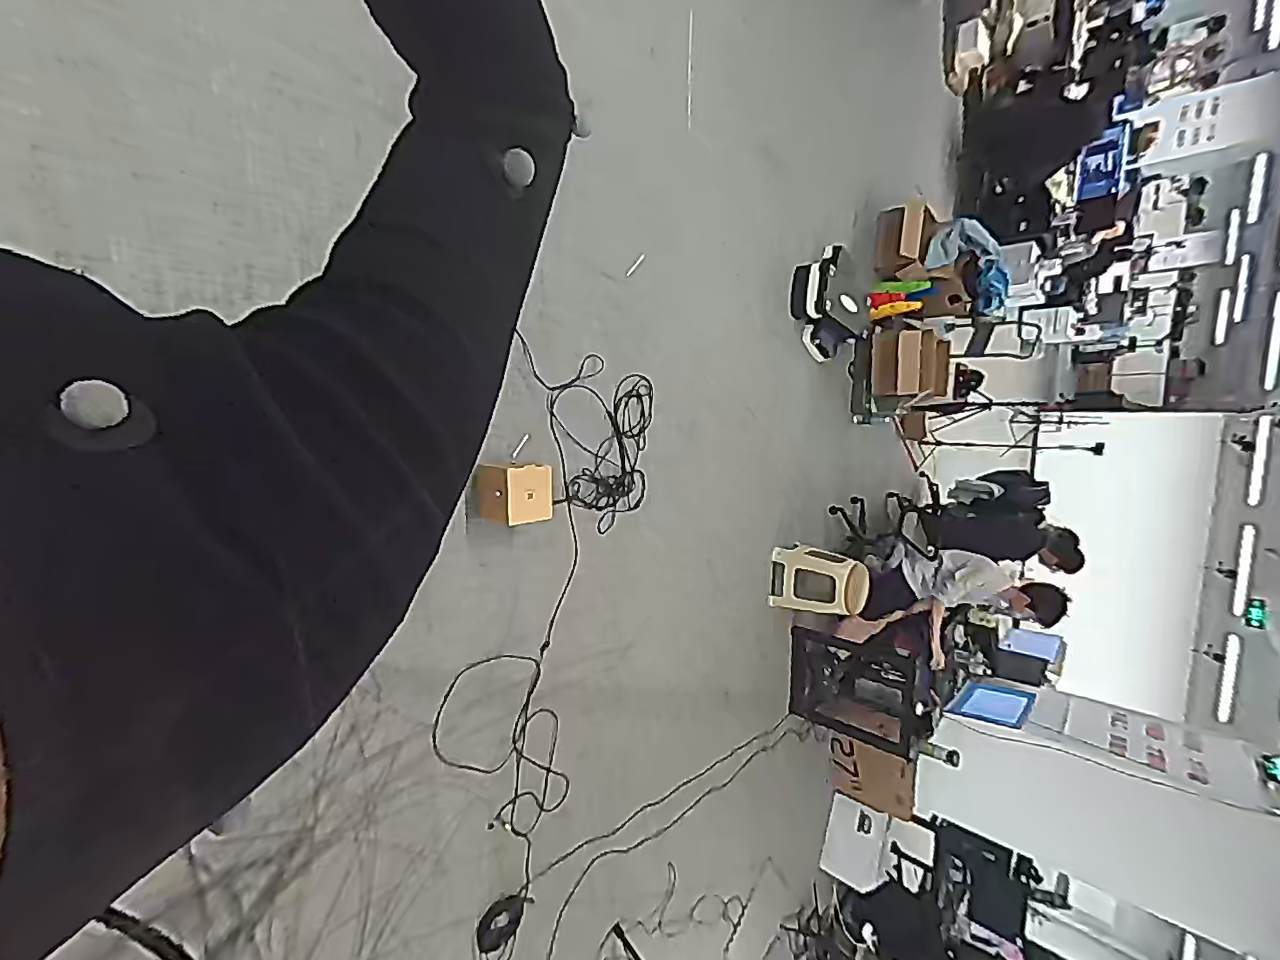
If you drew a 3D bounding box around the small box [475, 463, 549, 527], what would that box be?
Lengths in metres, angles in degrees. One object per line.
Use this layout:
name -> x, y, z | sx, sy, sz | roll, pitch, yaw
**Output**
small box -> -0.406, 0.042, 1.705 | 0.168, 0.176, 0.179 | -7, 99, -48
